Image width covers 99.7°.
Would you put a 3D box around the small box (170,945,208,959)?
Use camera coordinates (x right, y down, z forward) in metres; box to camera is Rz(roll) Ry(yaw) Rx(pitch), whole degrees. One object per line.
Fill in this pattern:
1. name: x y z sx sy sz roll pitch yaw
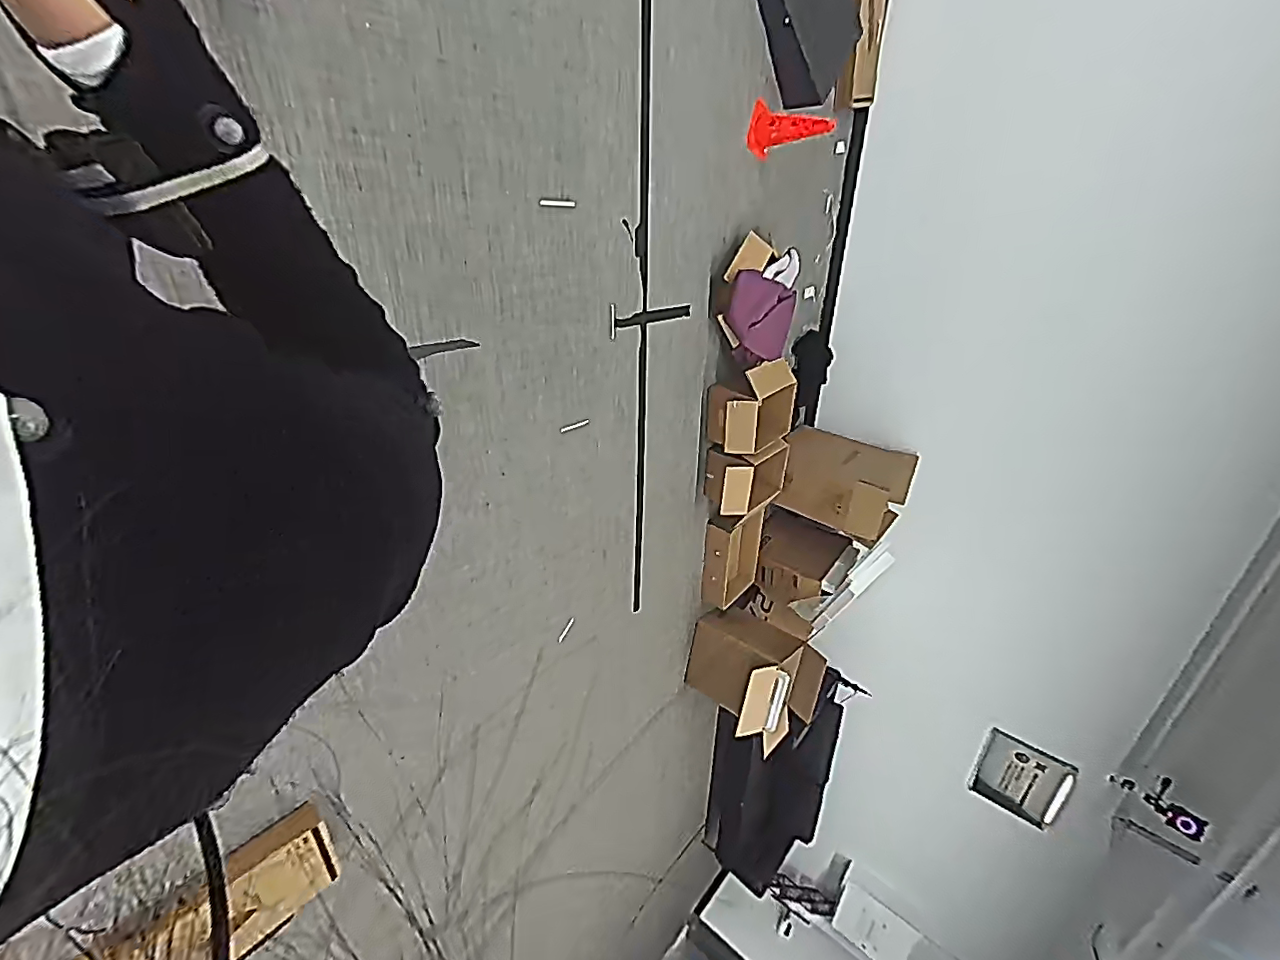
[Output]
1. small box: -1.231 1.399 1.433 0.168 0.176 0.179 -30 130 -42
